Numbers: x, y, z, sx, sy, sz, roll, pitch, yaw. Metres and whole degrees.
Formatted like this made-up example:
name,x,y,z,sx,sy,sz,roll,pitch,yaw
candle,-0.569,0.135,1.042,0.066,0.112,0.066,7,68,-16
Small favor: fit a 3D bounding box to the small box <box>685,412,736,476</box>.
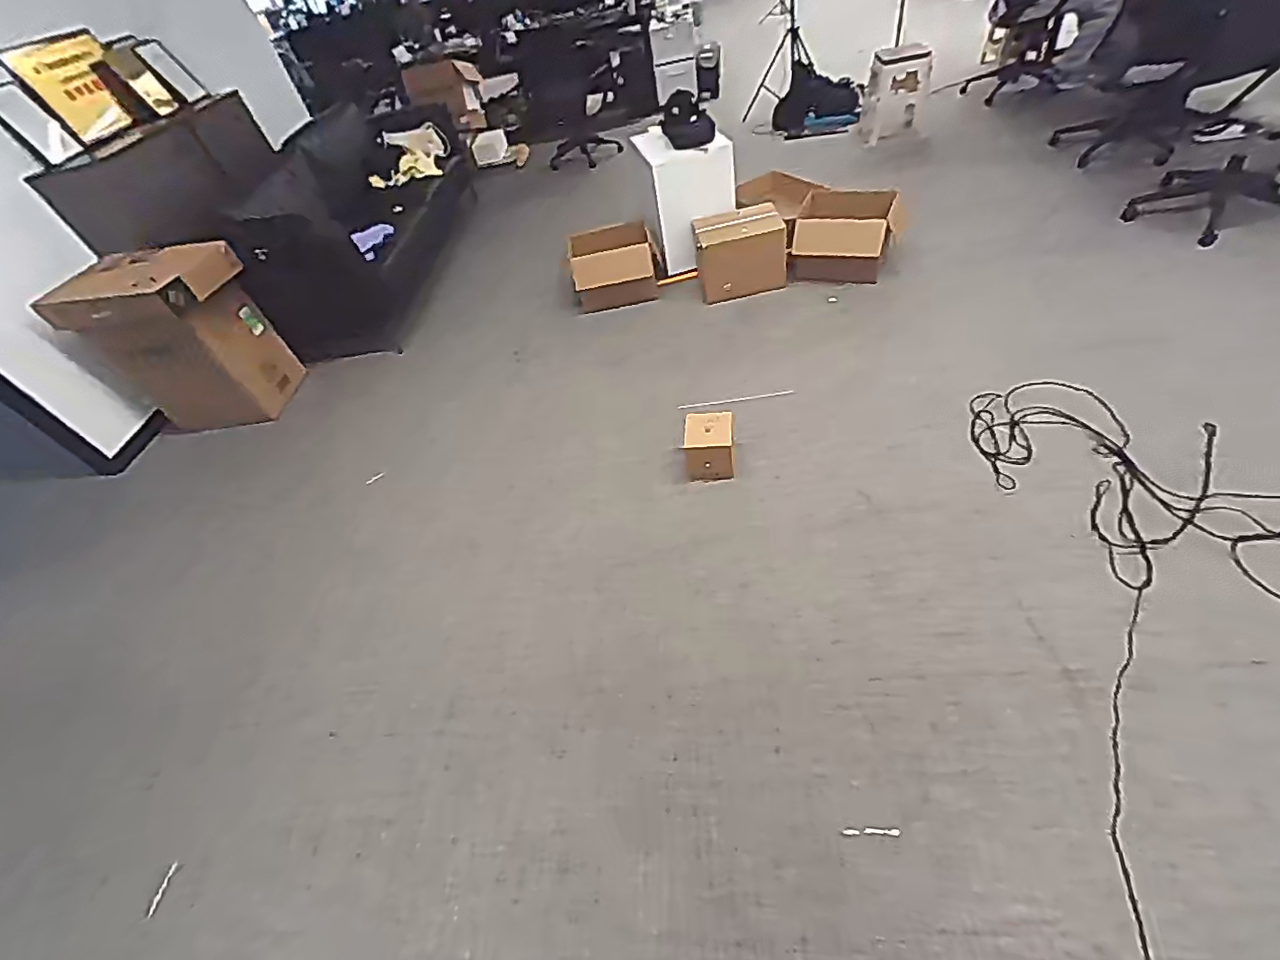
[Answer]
name,x,y,z,sx,sy,sz,roll,pitch,yaw
small box,0.262,-0.125,1.966,0.168,0.176,0.179,-2,49,12
